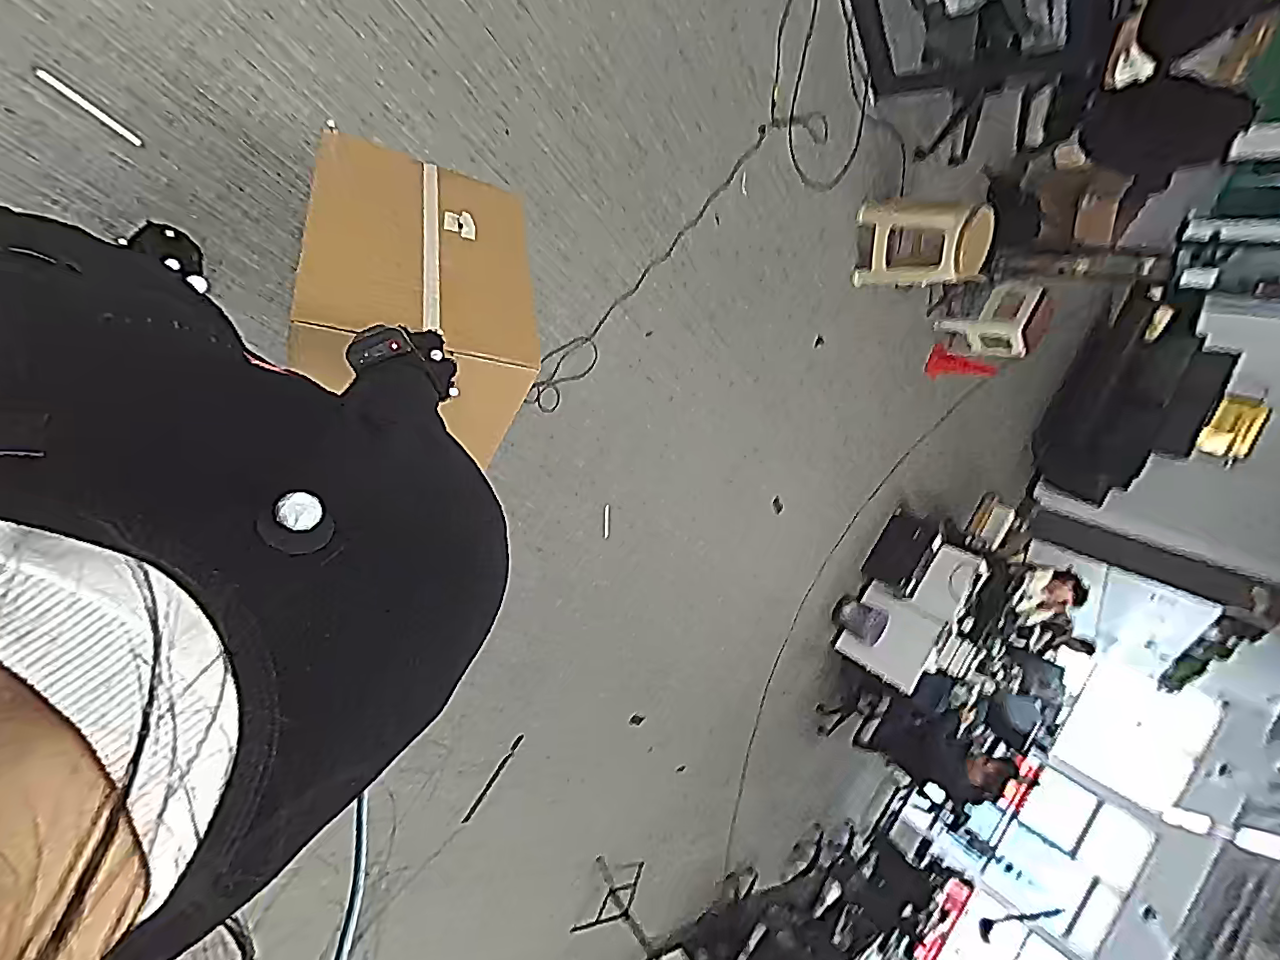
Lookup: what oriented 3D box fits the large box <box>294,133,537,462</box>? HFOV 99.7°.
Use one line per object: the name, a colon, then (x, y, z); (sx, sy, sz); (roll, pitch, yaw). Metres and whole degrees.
large box: (-0.395, -0.280, 0.924); (0.320, 0.408, 0.320); (5, 147, -31)
